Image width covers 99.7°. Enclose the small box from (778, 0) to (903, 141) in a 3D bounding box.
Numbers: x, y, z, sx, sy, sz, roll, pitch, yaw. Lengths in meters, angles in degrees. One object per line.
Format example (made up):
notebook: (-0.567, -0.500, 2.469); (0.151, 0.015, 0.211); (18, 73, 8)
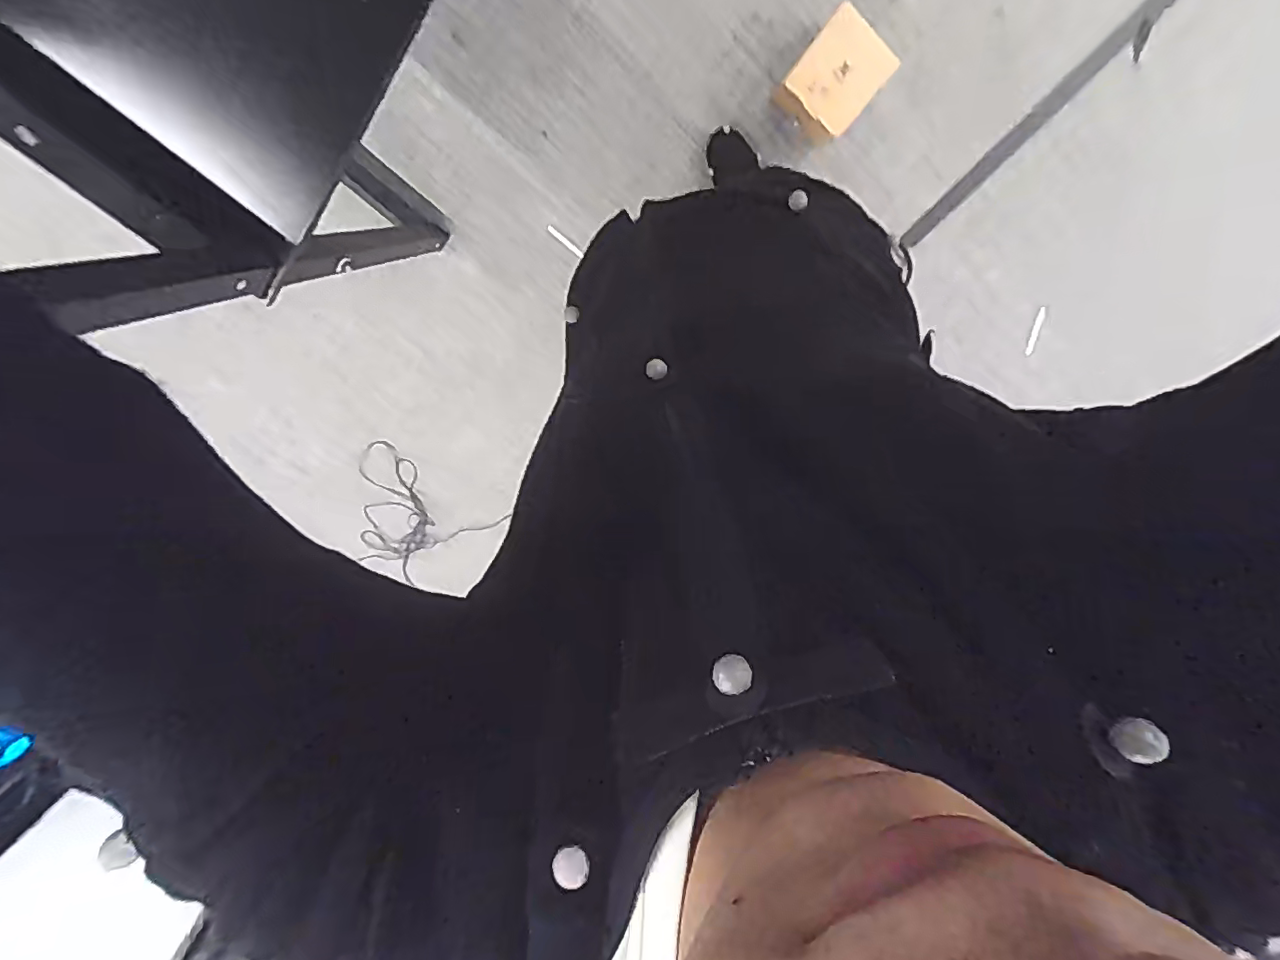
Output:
small box: (0.424, -0.881, 1.180); (0.168, 0.176, 0.179); (36, 114, -14)
